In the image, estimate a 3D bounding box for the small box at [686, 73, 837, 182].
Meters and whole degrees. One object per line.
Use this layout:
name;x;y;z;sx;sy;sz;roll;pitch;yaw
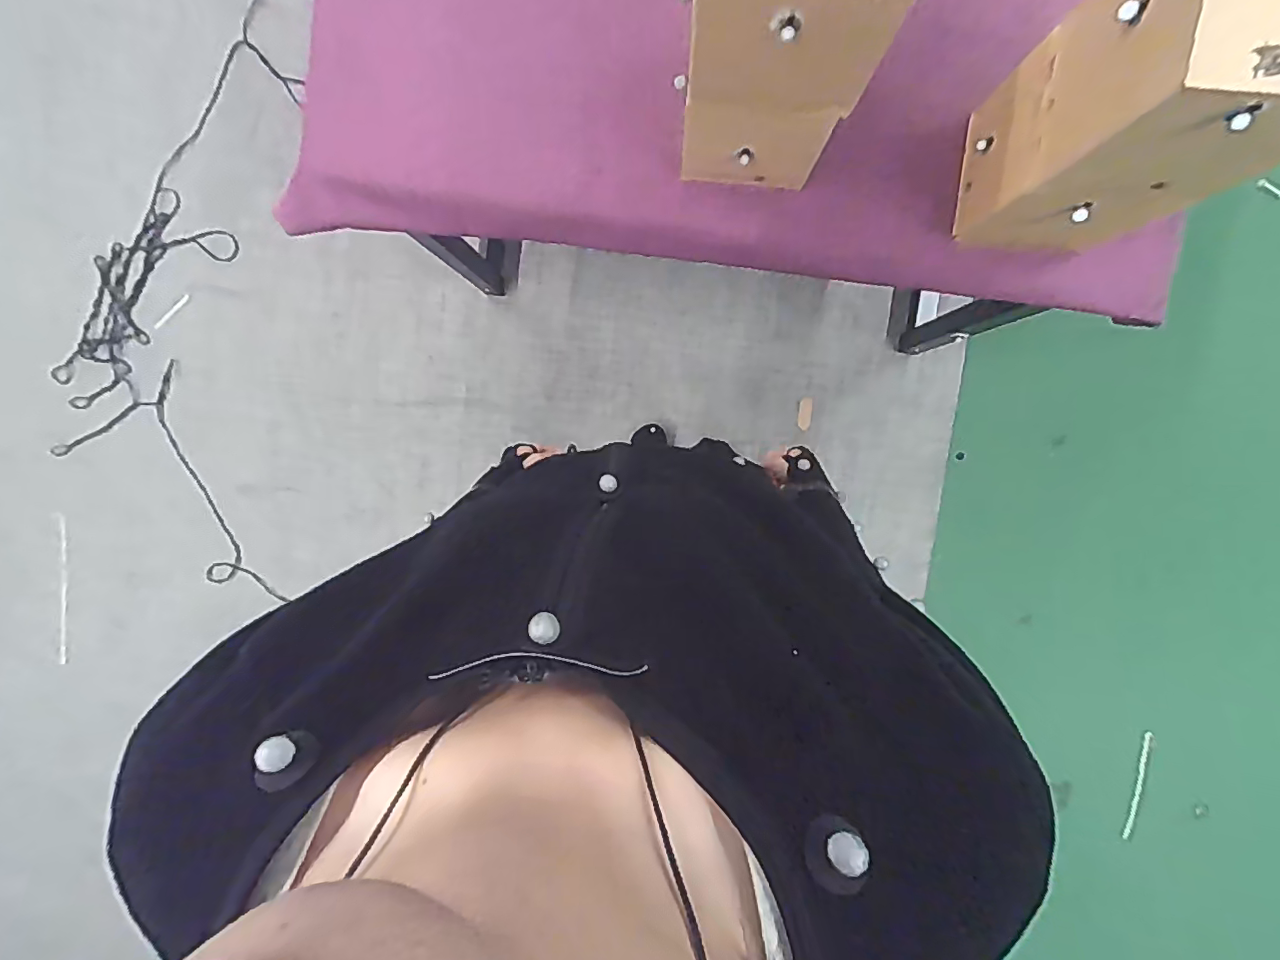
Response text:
small box;0.148;-0.489;0.653;0.168;0.176;0.179;7;94;3

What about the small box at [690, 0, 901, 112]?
small box;0.141;-0.470;0.491;0.179;0.176;0.168;7;96;3

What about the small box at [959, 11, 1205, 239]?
small box;0.516;-0.397;0.635;0.179;0.176;0.168;6;96;5

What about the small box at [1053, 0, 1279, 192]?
small box;0.506;-0.384;0.471;0.168;0.176;0.179;7;95;6
